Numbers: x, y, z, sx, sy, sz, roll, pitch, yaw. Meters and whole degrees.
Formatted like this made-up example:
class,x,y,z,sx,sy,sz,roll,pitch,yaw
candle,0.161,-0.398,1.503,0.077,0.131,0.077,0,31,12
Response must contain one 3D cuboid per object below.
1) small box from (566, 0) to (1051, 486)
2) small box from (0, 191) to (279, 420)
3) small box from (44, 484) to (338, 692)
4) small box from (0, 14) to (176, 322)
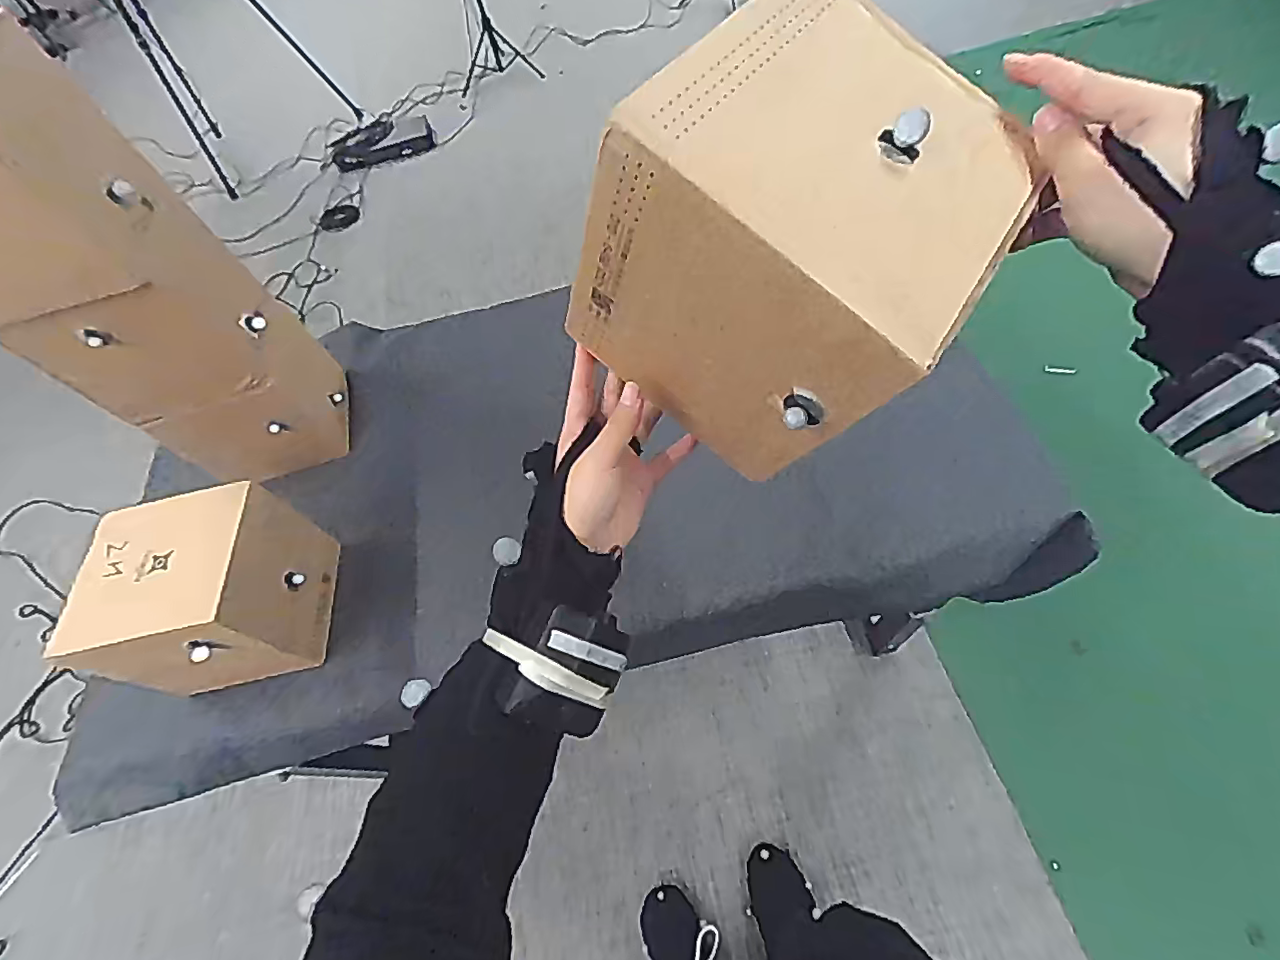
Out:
class,x,y,z,sx,sy,sz,roll,pitch,yaw
small box,0.081,-0.131,0.319,0.176,0.168,0.179,38,68,-1
small box,-0.571,-0.195,0.637,0.179,0.176,0.168,-17,61,-2
small box,-0.483,0.130,0.620,0.179,0.176,0.168,-13,56,2
small box,-0.587,-0.268,0.490,0.179,0.176,0.168,-16,61,-1
